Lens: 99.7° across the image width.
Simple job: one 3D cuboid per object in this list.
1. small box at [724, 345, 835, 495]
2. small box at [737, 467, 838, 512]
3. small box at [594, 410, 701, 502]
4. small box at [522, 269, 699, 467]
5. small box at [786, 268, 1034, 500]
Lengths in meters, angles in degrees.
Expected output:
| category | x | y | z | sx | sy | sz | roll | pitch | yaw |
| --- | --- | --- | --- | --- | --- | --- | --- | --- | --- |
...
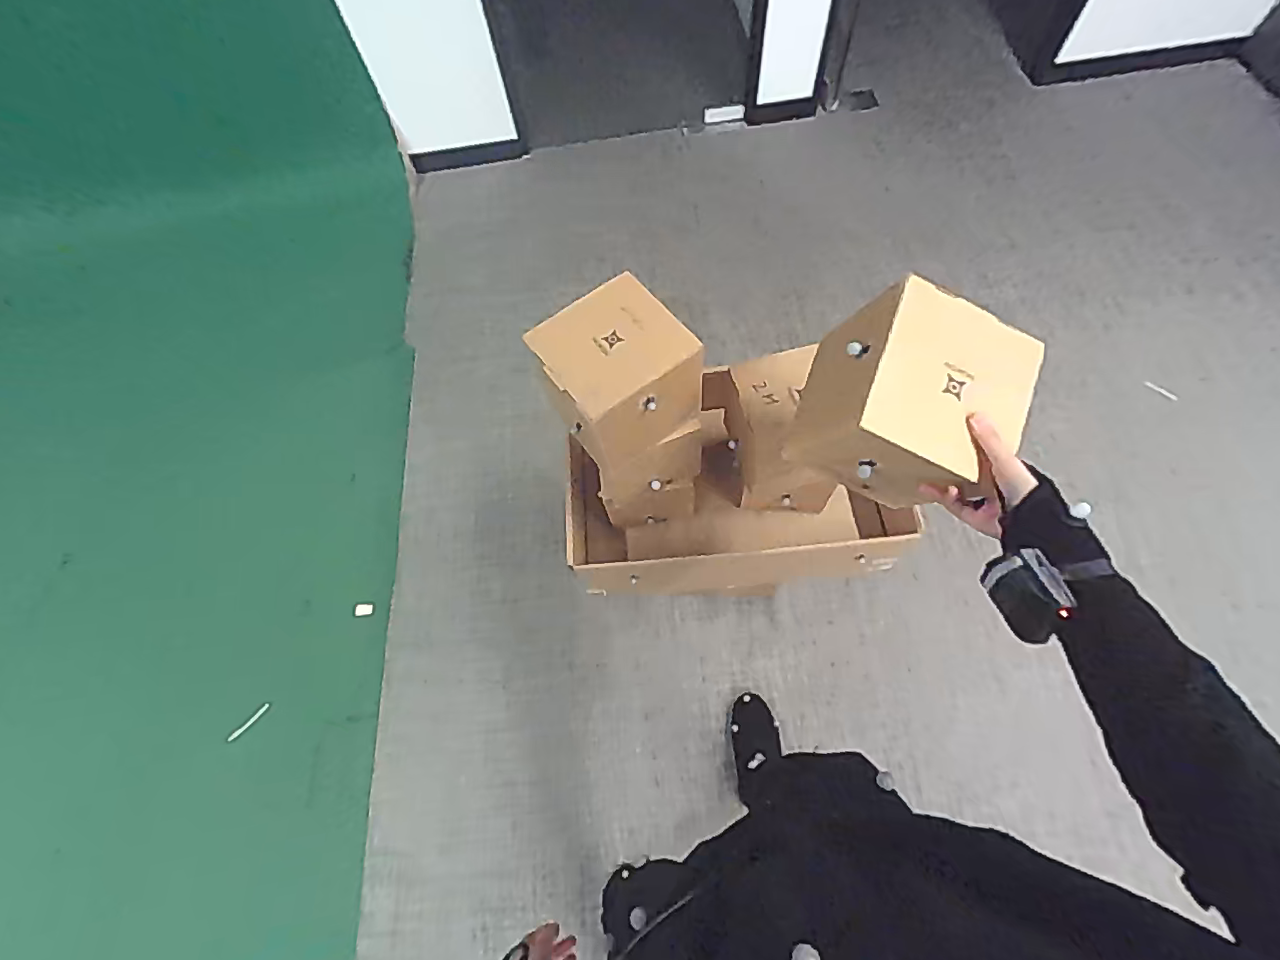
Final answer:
| category | x | y | z | sx | sy | sz | roll | pitch | yaw |
| --- | --- | --- | --- | --- | --- | --- | --- | --- | --- |
| small box | 0.246 | -0.095 | 0.887 | 0.179 | 0.176 | 0.168 | -13 | 63 | 0 |
| small box | 0.278 | -0.048 | 1.046 | 0.168 | 0.176 | 0.179 | 3 | 66 | 7 |
| small box | -0.008 | -0.090 | 0.906 | 0.168 | 0.176 | 0.179 | -21 | 66 | -4 |
| small box | -0.032 | -0.147 | 0.755 | 0.179 | 0.176 | 0.168 | -34 | 68 | -11 |
| small box | 0.286 | -0.090 | 0.606 | 0.168 | 0.176 | 0.179 | 23 | 77 | -6 |
